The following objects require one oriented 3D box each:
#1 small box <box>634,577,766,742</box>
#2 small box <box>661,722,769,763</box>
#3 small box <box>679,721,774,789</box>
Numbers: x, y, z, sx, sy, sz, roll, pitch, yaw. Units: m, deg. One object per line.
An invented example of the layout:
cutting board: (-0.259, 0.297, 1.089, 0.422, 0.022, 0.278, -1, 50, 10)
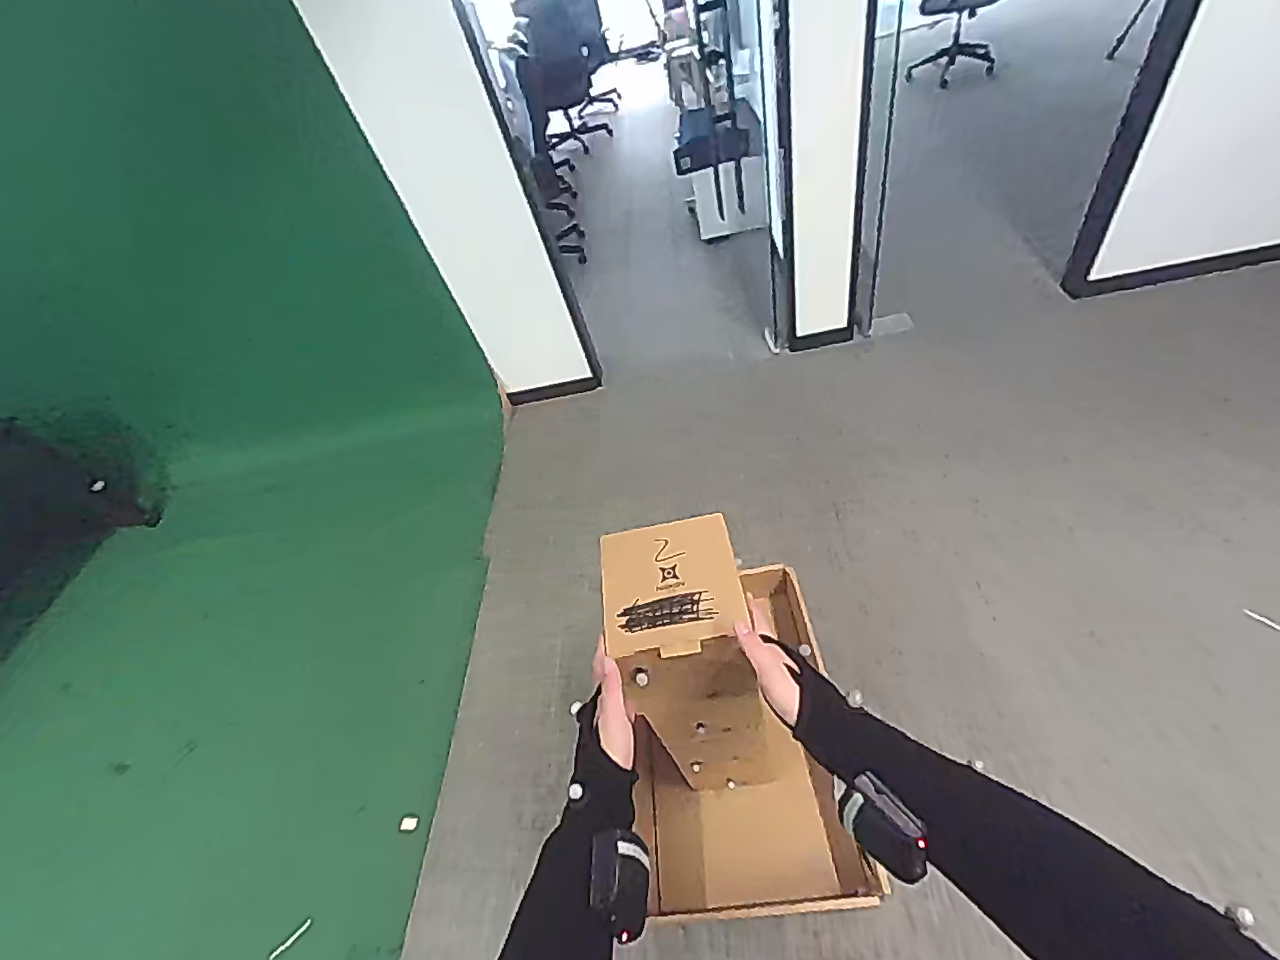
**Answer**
small box: (0.093, 0.279, 0.835, 0.168, 0.176, 0.179, -13, 47, 6)
small box: (0.127, 0.383, 0.955, 0.168, 0.176, 0.179, -12, 45, 6)
small box: (0.165, 0.490, 1.073, 0.168, 0.176, 0.179, -11, 46, 8)
